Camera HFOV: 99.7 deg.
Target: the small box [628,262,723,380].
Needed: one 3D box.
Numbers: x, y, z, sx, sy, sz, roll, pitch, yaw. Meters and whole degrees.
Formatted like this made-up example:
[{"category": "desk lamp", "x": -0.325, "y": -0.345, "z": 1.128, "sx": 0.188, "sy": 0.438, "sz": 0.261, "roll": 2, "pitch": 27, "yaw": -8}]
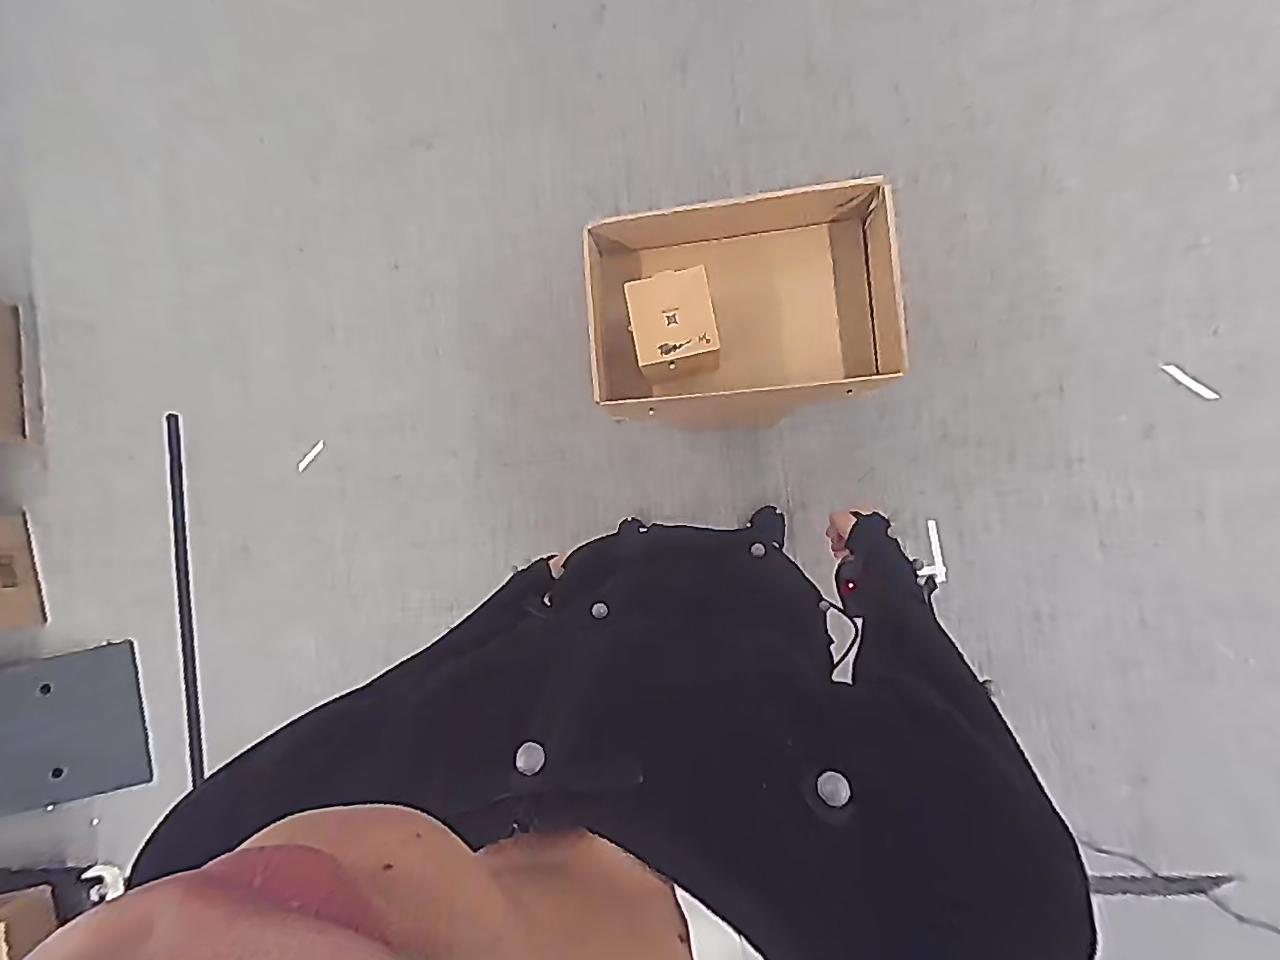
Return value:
[{"category": "small box", "x": 0.079, "y": -0.328, "z": 1.146, "sx": 0.168, "sy": 0.176, "sz": 0.179, "roll": -11, "pitch": 87, "yaw": 8}]
